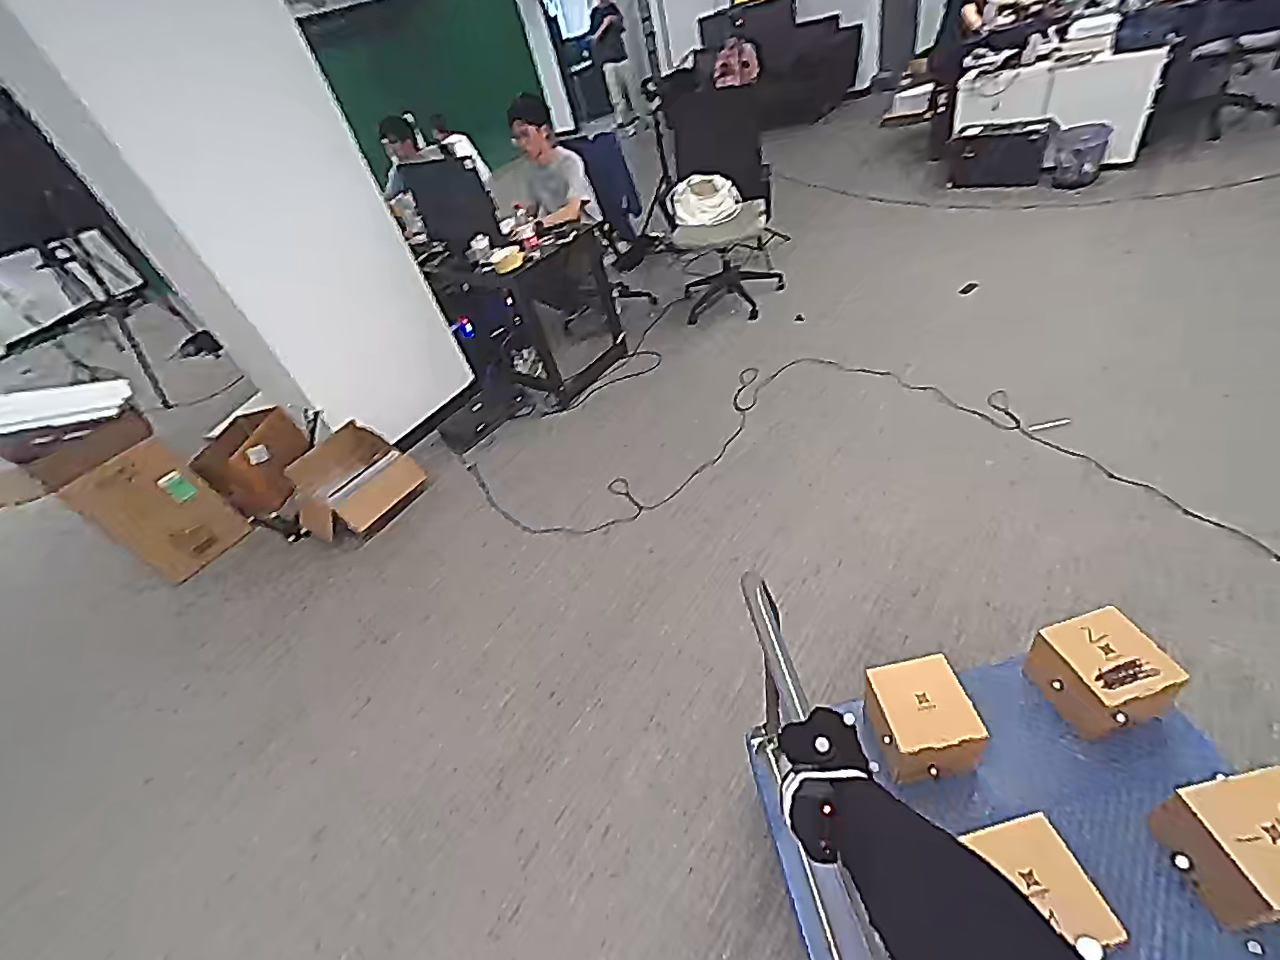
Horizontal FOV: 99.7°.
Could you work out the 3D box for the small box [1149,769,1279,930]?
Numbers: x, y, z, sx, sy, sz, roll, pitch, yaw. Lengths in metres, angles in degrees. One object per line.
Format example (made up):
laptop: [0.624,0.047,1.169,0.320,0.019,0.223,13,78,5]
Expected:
small box: [0.999,0.600,0.877,0.179,0.176,0.168,-16,41,4]

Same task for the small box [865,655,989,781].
small box: [0.589,0.502,1.138,0.168,0.176,0.179,-14,42,4]

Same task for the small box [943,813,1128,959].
small box: [0.637,0.697,0.902,0.168,0.176,0.179,-18,40,1]
